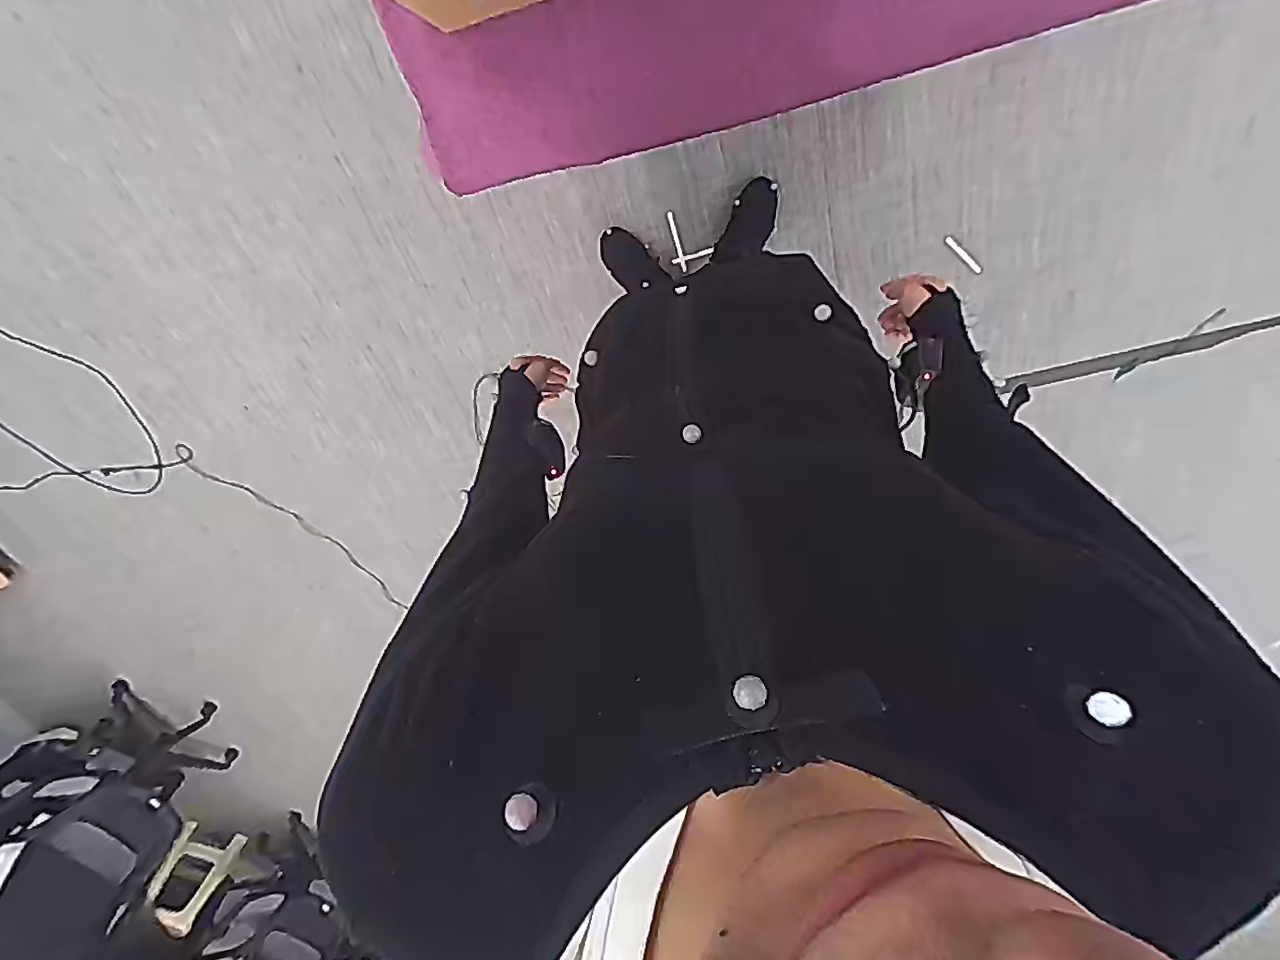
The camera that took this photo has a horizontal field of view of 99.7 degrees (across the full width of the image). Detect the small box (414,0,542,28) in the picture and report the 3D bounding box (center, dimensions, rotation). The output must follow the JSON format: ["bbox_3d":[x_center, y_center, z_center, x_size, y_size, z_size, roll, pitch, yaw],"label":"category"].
[{"bbox_3d":[-0.167,-0.569,0.514,0.179,0.176,0.168,-12,120,7],"label":"small box"}]
